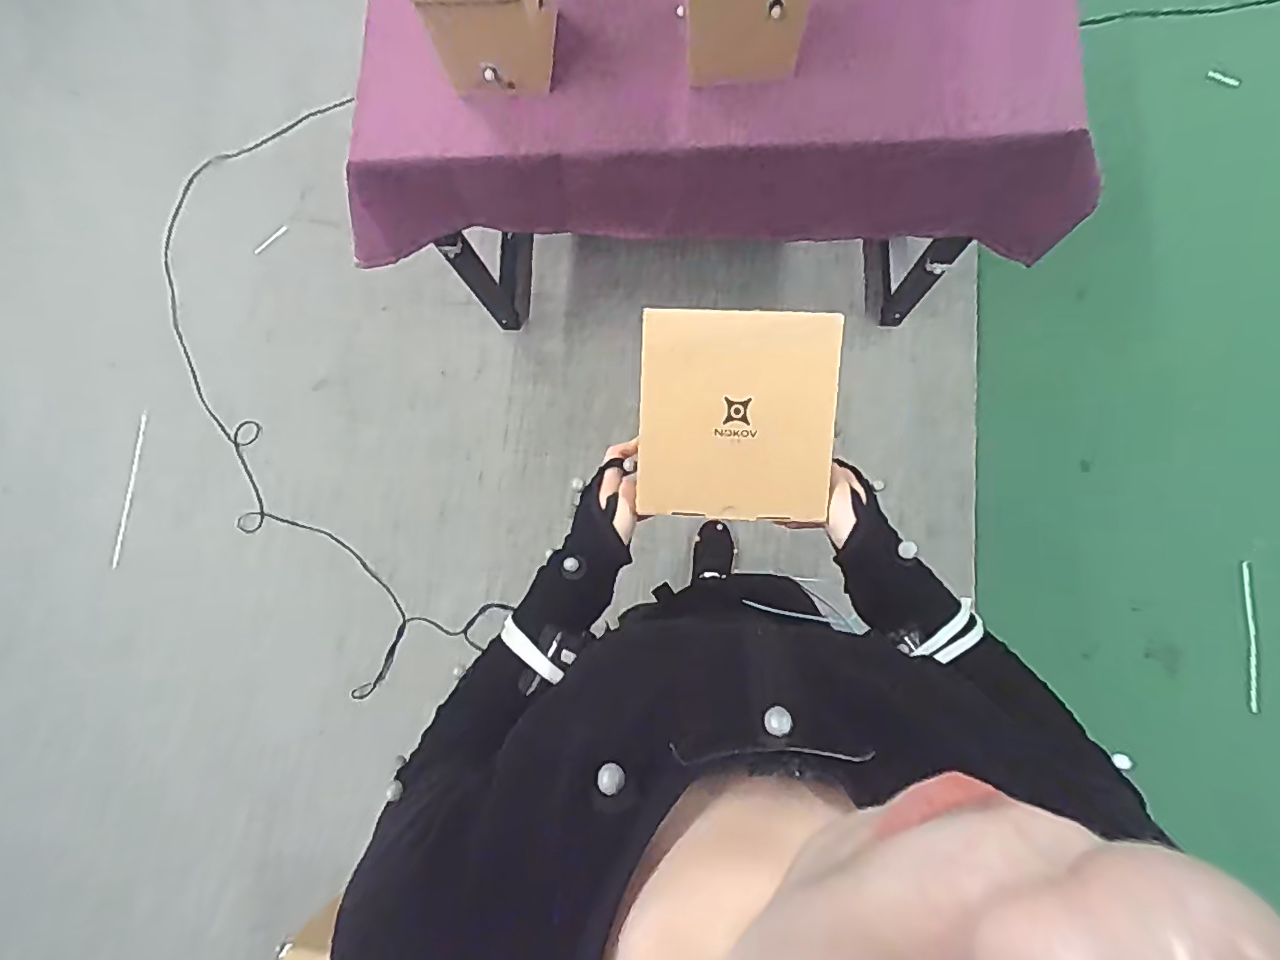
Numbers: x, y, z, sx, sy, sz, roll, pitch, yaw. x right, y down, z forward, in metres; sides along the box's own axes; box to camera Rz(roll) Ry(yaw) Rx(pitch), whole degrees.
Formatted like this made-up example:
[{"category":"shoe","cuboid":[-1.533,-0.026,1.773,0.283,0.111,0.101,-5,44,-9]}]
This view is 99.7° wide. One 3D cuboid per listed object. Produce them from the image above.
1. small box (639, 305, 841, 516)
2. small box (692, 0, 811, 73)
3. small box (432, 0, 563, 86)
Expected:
[{"category":"small box","cuboid":[0.087,-0.068,0.542,0.168,0.176,0.179,2,98,3]},{"category":"small box","cuboid":[0.171,-0.771,0.834,0.179,0.176,0.168,1,81,6]},{"category":"small box","cuboid":[-0.226,-0.784,0.874,0.168,0.176,0.179,3,82,6]}]
